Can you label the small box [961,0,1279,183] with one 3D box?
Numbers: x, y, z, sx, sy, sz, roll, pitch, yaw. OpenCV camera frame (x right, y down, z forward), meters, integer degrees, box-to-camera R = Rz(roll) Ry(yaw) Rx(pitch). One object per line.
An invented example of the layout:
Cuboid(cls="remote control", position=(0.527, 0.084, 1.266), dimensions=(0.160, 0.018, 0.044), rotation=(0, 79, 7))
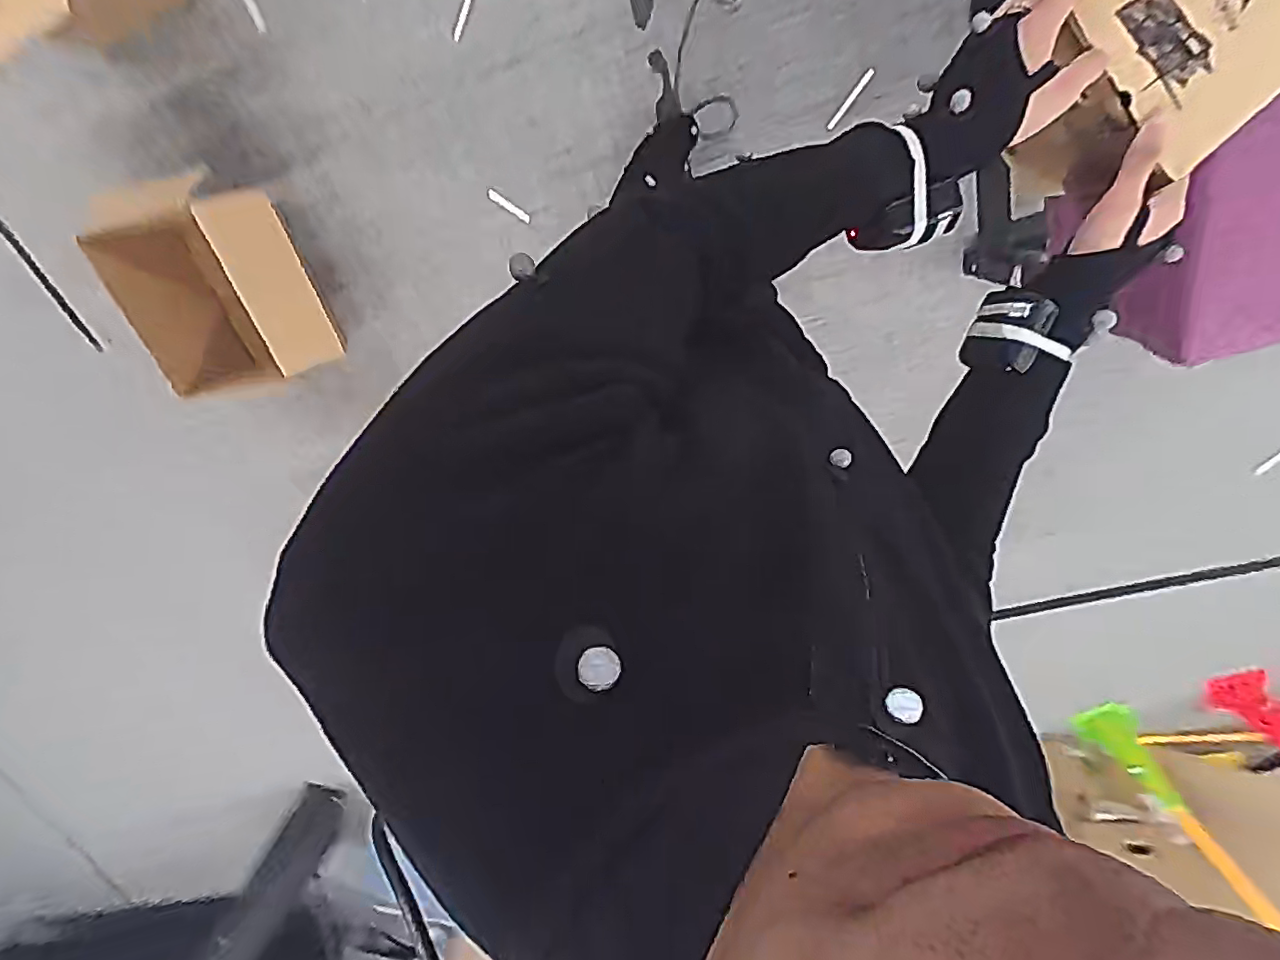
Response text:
Cuboid(cls="small box", position=(0.406, -0.377, 0.445), dimensions=(0.168, 0.176, 0.179), rotation=(38, 108, -17))
